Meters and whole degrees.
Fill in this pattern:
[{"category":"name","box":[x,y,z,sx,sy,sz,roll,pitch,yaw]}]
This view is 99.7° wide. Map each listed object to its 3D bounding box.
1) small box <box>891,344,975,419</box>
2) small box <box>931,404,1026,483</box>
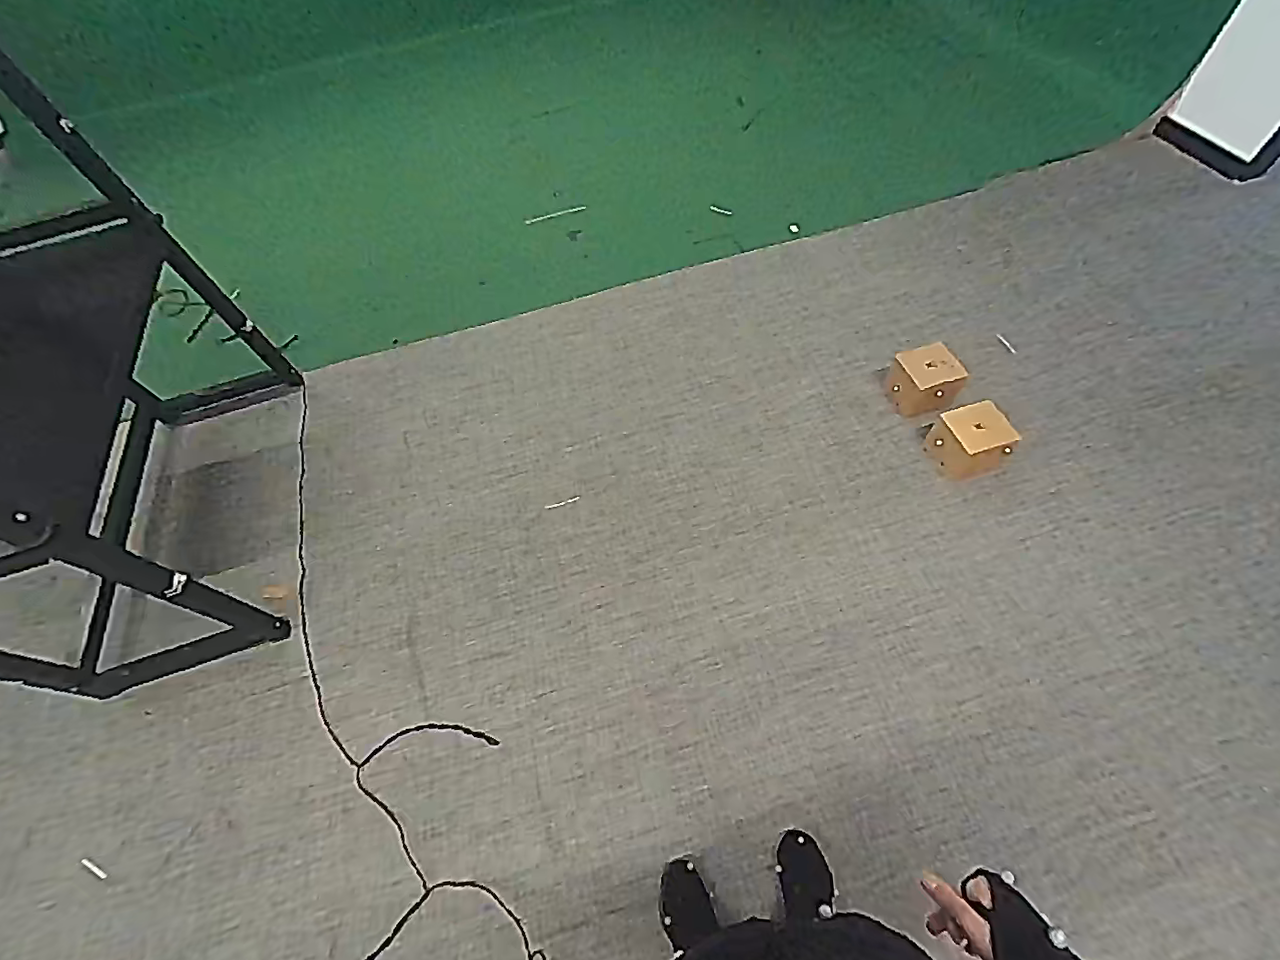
[{"category":"small box","box":[0.985,-0.331,1.843,0.179,0.176,0.168,-14,59,-3]},{"category":"small box","box":[1.053,-0.110,1.708,0.179,0.176,0.168,-14,59,-3]}]
